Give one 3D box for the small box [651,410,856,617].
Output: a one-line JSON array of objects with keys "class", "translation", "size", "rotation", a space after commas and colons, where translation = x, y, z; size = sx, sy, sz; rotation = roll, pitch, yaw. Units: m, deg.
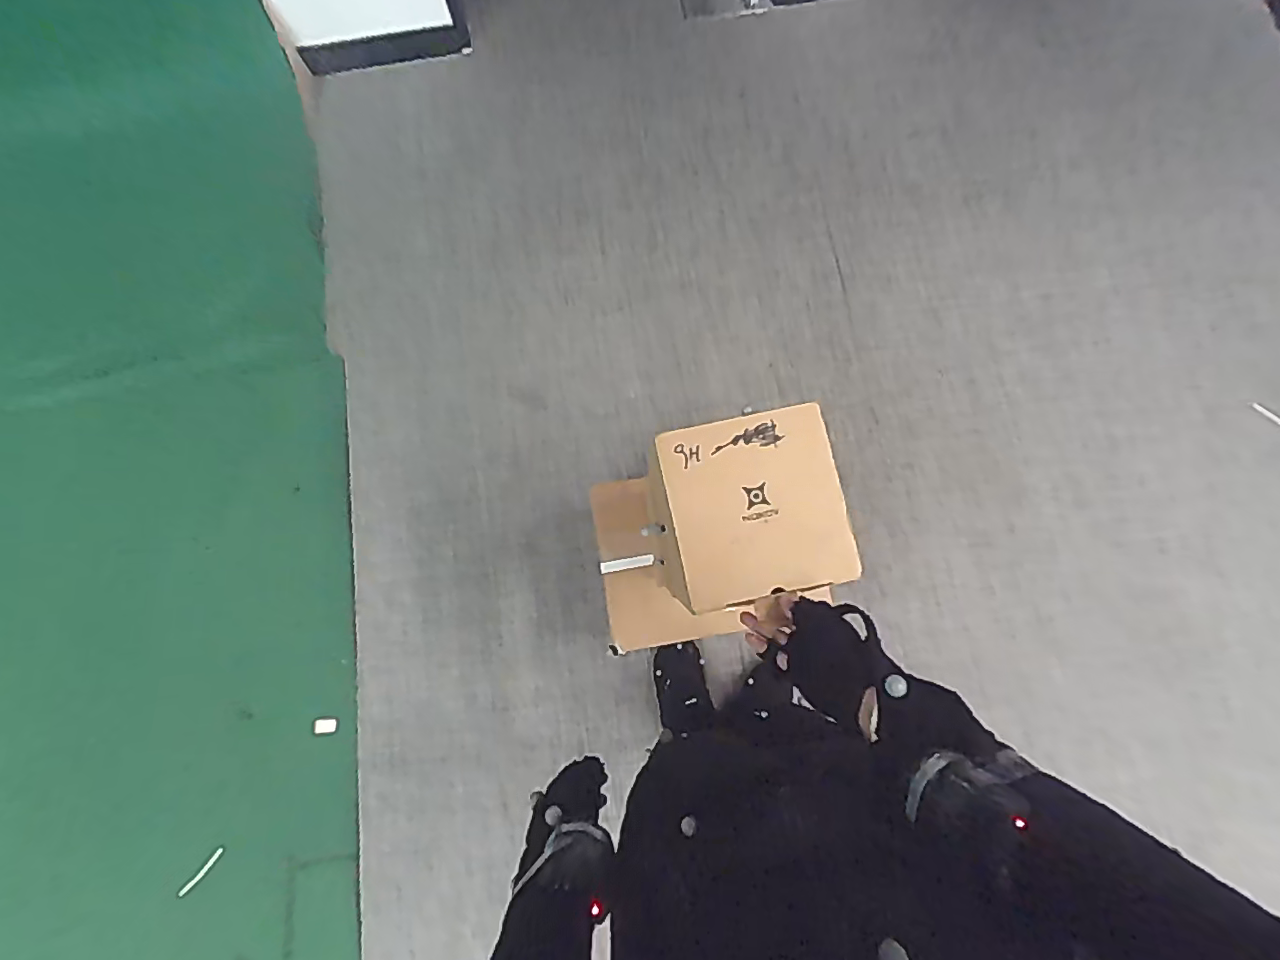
[{"class": "small box", "translation": [0.110, 0.037, 0.598], "size": [0.168, 0.176, 0.179], "rotation": [-12, 84, -3]}]
